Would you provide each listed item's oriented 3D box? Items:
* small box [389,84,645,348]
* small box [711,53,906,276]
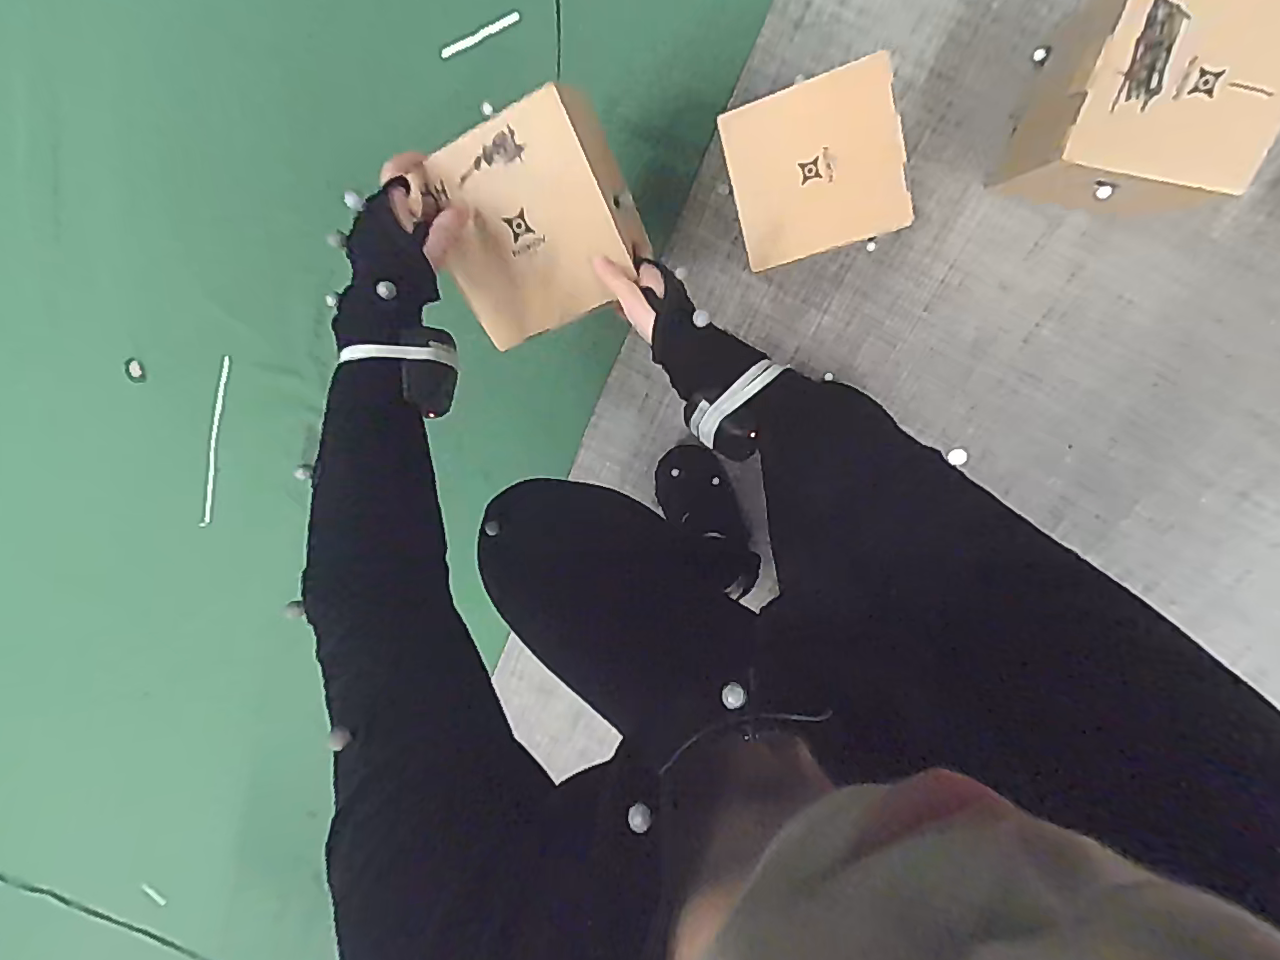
[{"bbox_3d":[-0.103,-0.269,0.548,0.168,0.176,0.179,-19,122,17],"label":"small box"},{"bbox_3d":[0.194,-0.353,0.648,0.179,0.176,0.168,-14,106,15],"label":"small box"}]
